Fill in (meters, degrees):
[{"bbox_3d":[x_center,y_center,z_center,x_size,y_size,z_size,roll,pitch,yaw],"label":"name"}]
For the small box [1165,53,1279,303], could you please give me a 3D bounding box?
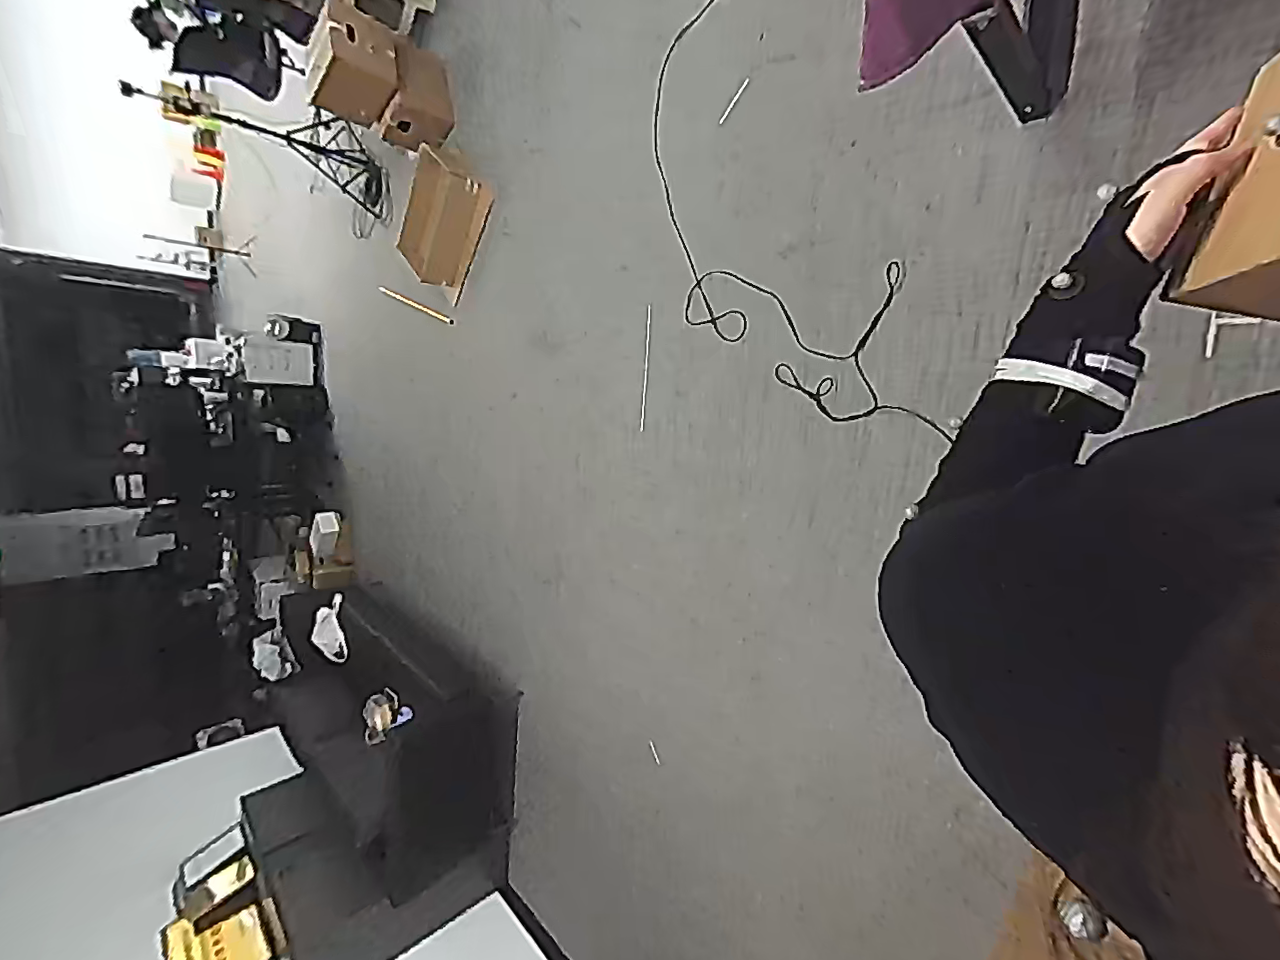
[{"bbox_3d":[0.470,-0.191,0.305,0.179,0.176,0.168,19,104,15],"label":"small box"}]
